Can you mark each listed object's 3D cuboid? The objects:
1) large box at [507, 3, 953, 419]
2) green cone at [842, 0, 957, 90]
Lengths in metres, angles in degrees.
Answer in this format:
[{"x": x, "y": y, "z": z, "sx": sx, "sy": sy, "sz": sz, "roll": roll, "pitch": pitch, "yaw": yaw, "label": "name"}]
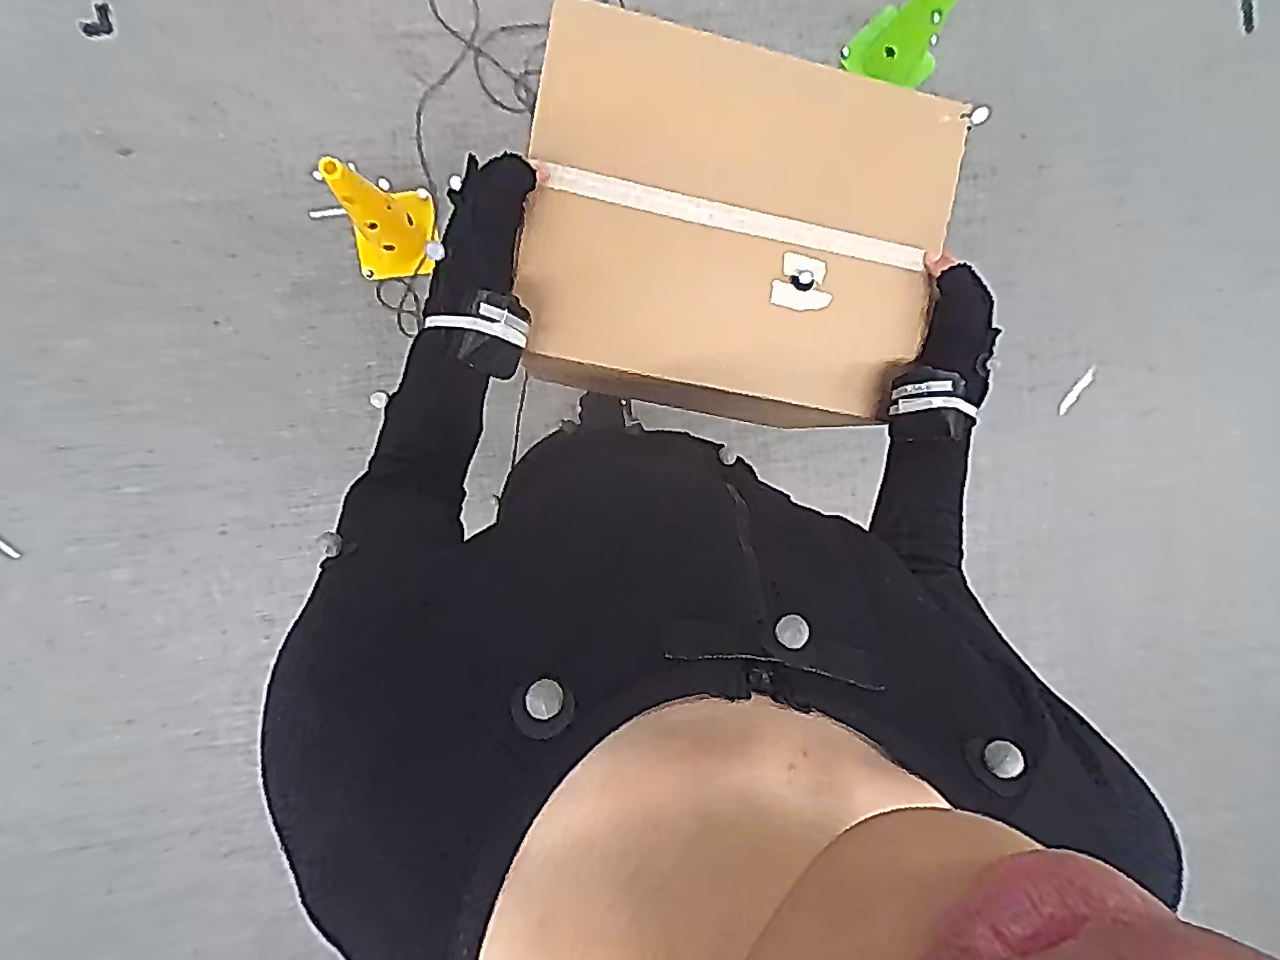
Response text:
[{"x": 0.073, "y": -0.261, "z": 0.661, "sx": 0.408, "sy": 0.320, "sz": 0.320, "roll": 9, "pitch": 94, "yaw": -7, "label": "large box"}, {"x": 0.672, "y": -1.090, "z": 1.246, "sx": 0.202, "sy": 0.368, "sz": 0.200, "roll": -45, "pitch": 98, "yaw": -1, "label": "green cone"}]
